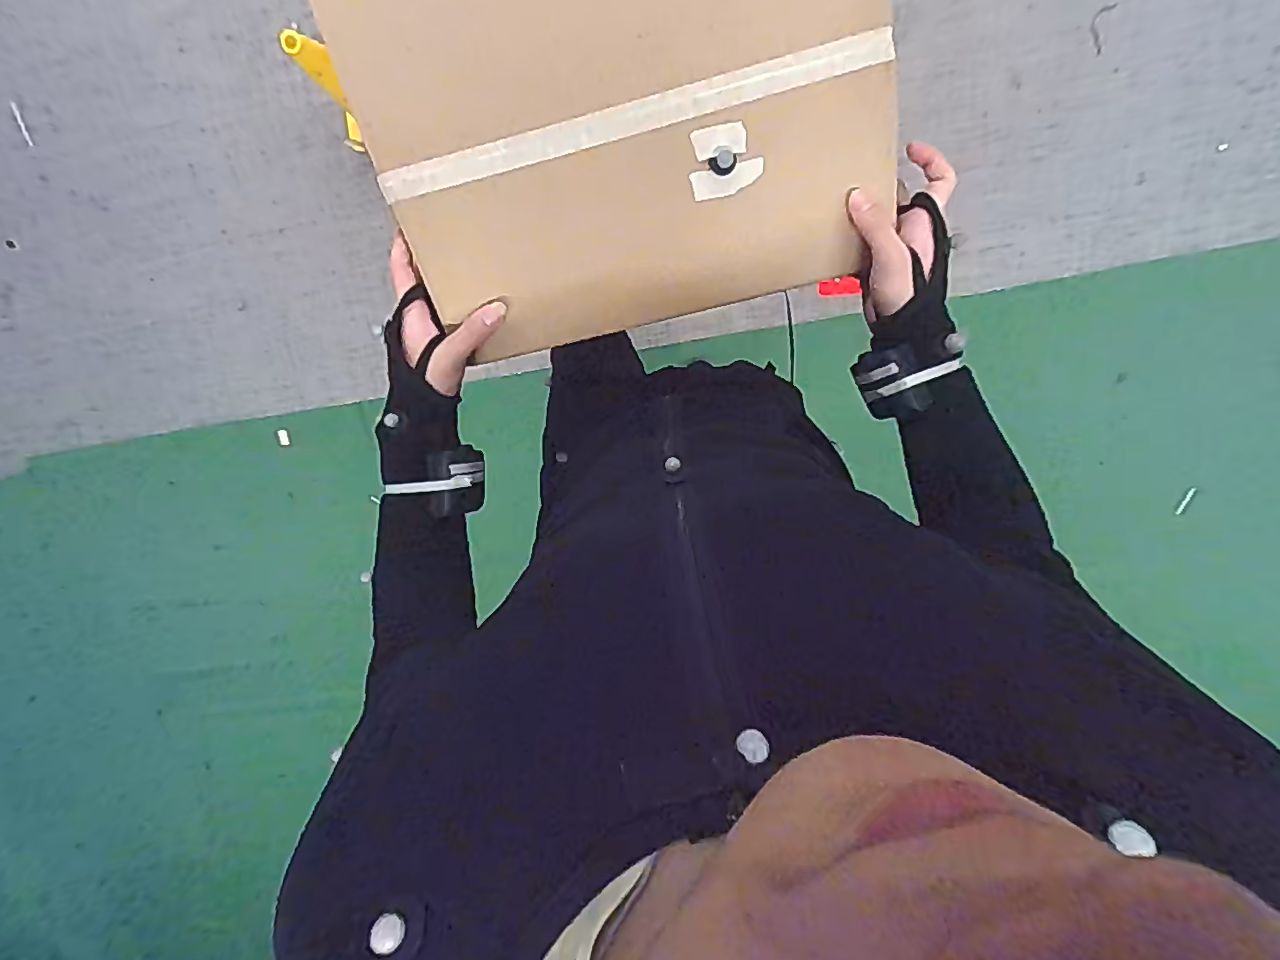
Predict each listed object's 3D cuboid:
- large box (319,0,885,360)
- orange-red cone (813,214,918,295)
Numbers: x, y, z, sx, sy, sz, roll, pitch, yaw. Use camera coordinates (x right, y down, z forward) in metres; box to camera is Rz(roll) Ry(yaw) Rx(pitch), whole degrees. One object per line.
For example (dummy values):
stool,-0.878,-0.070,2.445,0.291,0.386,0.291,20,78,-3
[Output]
large box,-0.017,-0.356,0.559,0.408,0.320,0.320,-13,118,5
orange-red cone,0.558,-0.543,1.266,0.199,0.360,0.198,-1,107,2
